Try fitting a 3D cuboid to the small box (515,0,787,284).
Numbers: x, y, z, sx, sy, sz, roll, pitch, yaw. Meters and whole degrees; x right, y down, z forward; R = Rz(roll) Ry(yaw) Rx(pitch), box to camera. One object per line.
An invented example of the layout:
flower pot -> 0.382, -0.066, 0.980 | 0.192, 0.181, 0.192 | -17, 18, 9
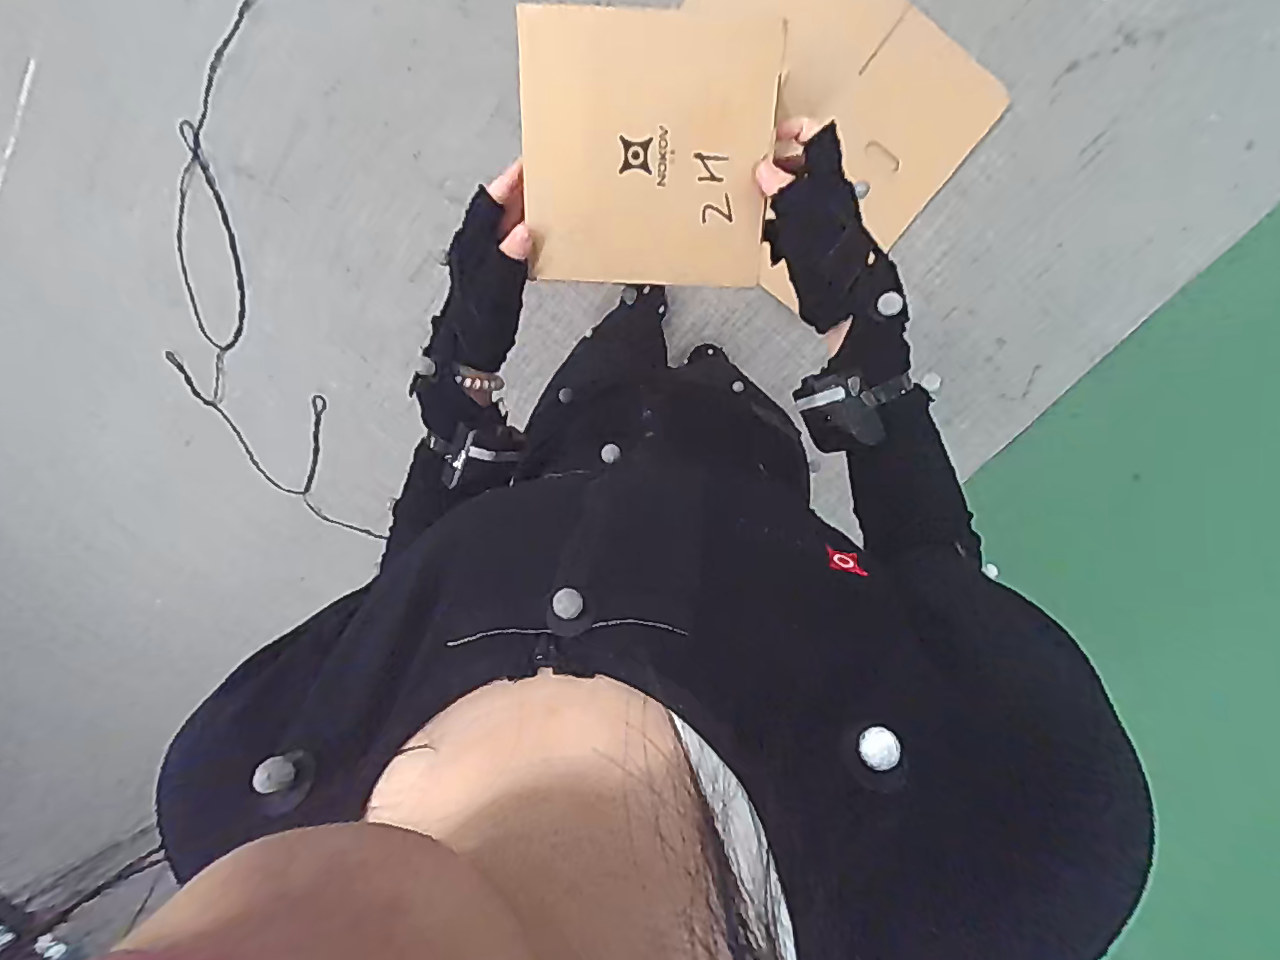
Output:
small box -> 0.004, -0.256, 0.446 | 0.179, 0.176, 0.168 | 2, 113, -2
